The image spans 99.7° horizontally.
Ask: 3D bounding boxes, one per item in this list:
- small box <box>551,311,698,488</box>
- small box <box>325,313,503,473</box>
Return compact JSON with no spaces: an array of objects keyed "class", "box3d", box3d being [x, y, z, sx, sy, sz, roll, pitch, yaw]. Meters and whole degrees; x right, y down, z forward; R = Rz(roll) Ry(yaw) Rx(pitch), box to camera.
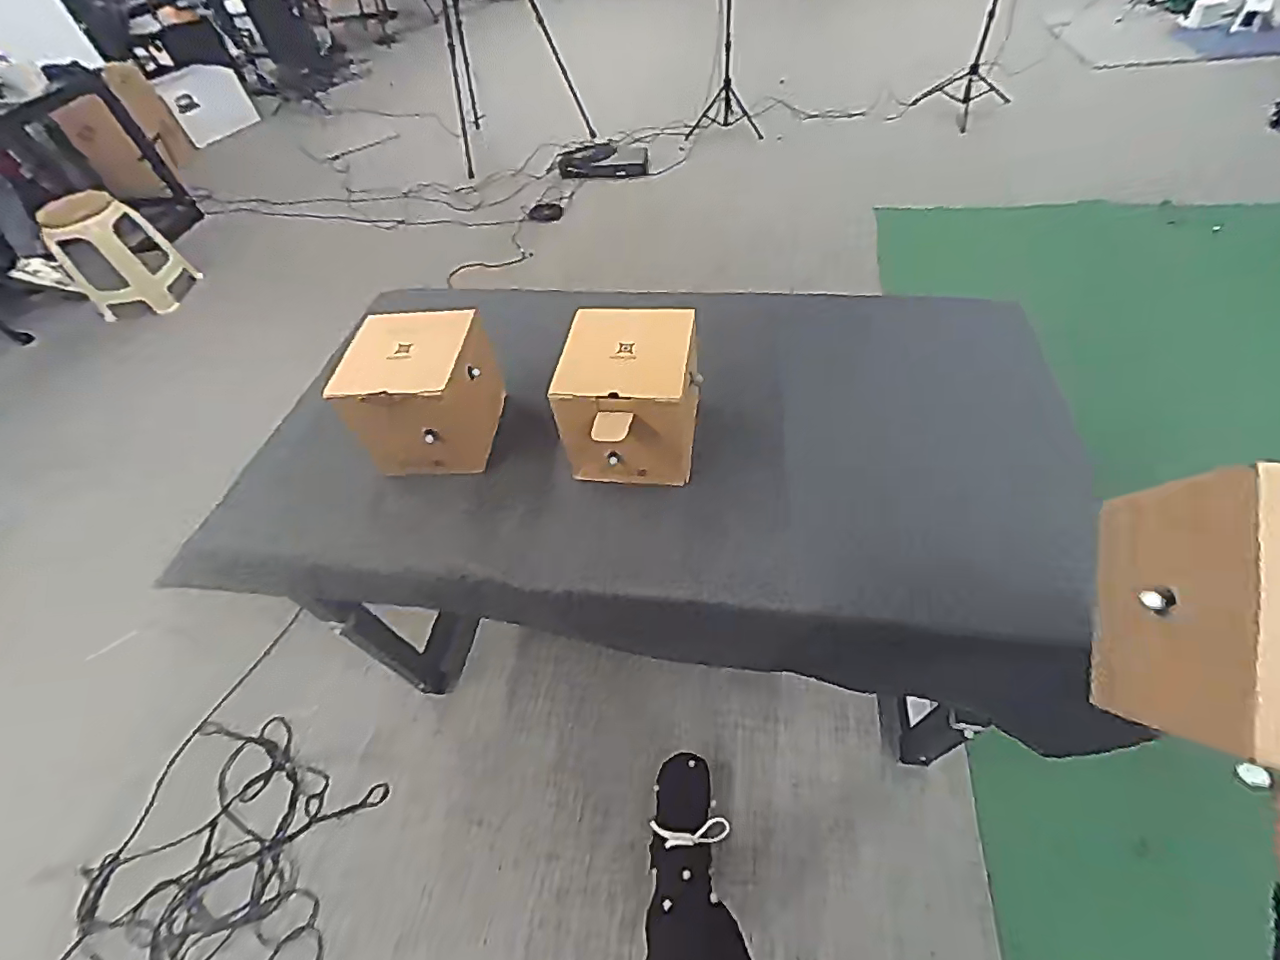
[{"class":"small box","box3d":[-0.010,-0.112,0.754,0.168,0.176,0.179,4,53,9]},{"class":"small box","box3d":[-0.314,-0.122,0.800,0.168,0.176,0.179,-1,51,5]}]
